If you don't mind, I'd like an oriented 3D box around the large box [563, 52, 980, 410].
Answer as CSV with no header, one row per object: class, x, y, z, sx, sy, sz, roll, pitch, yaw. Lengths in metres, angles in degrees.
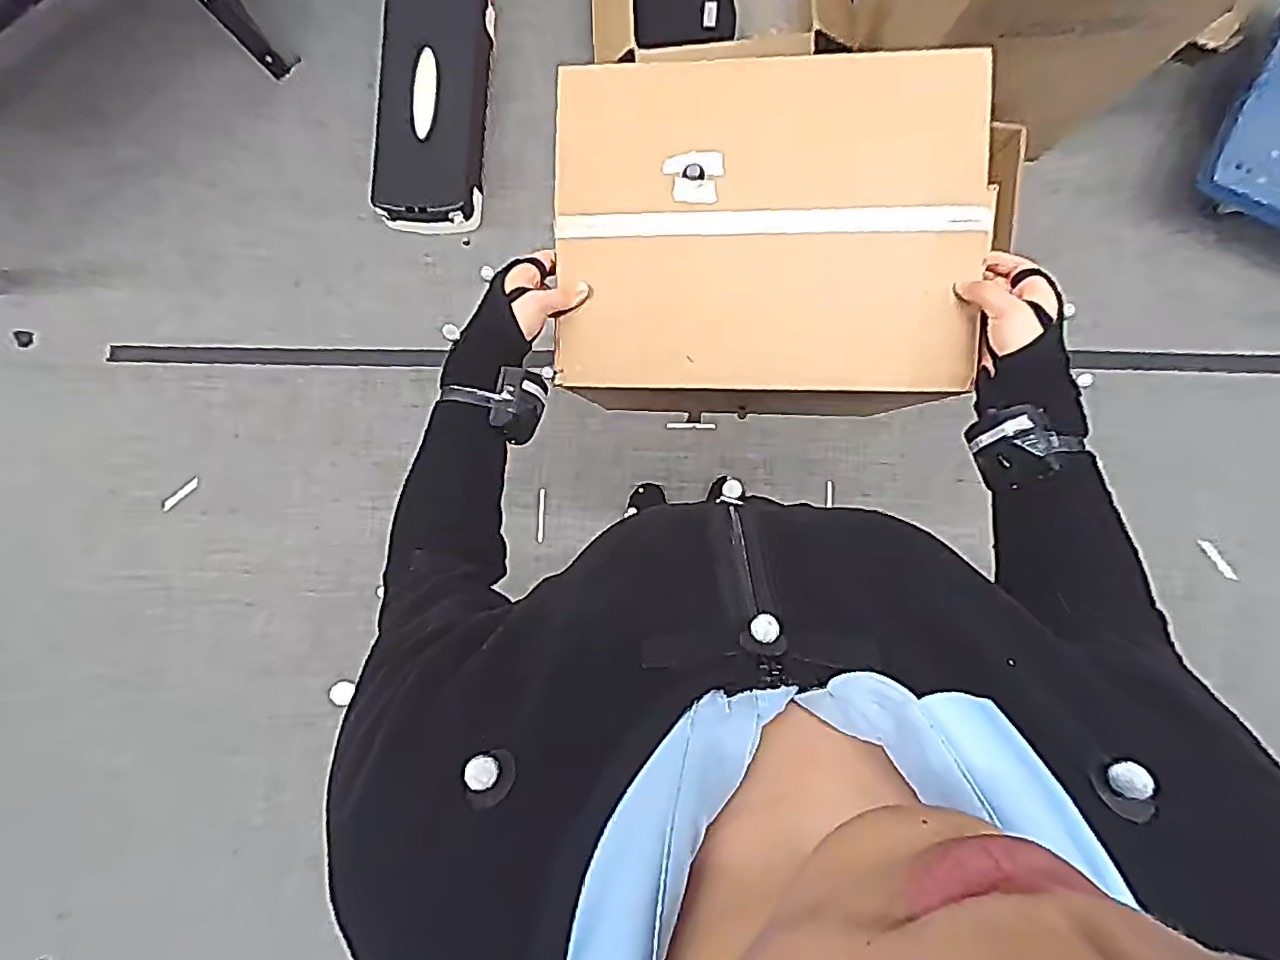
large box,0.138,-0.253,0.677,0.408,0.320,0.320,1,91,7
